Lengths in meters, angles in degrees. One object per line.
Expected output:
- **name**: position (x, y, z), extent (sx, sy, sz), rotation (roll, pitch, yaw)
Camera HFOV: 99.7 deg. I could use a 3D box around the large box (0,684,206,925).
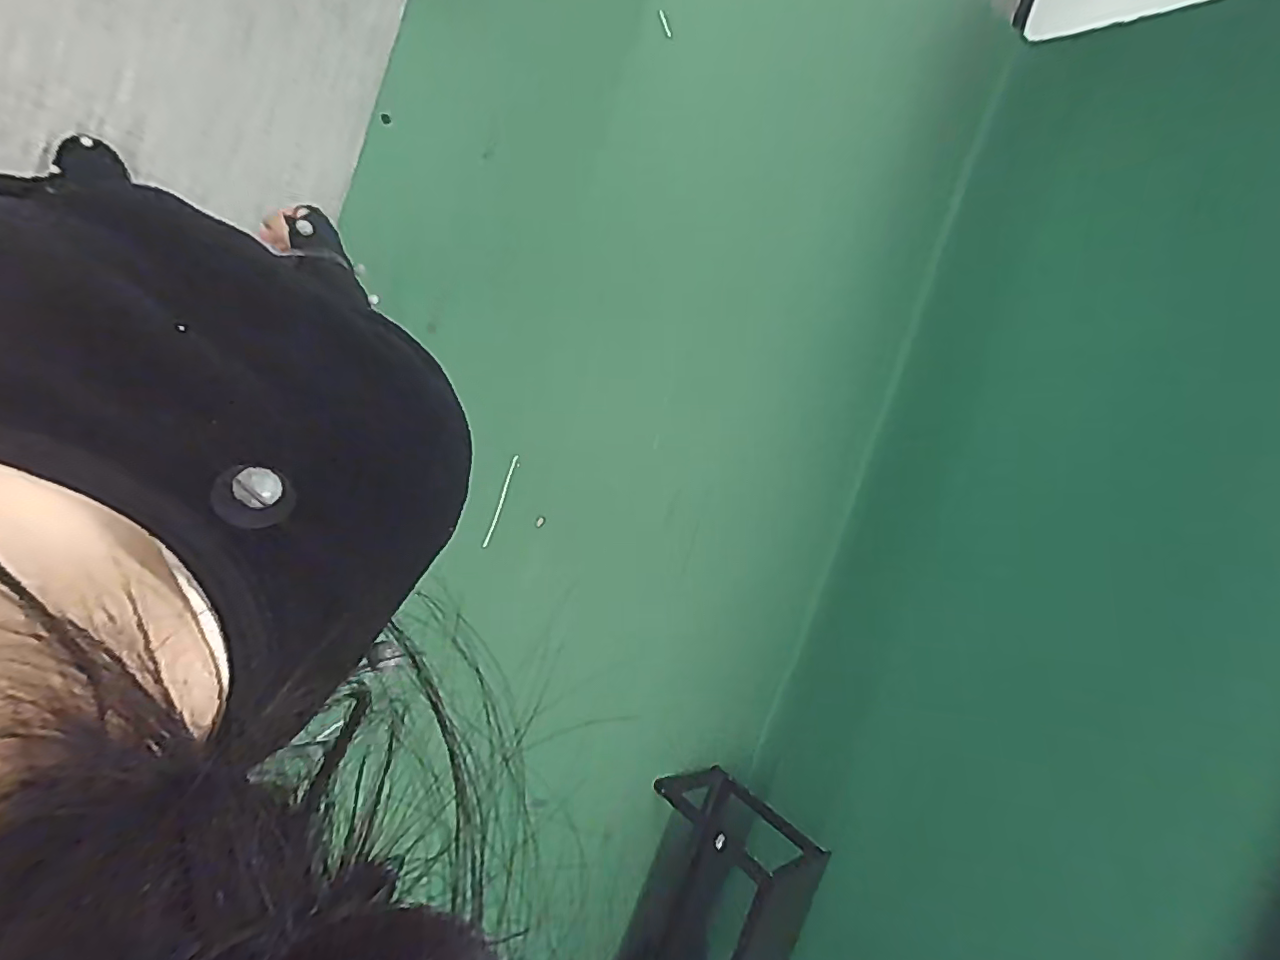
- **large box**: position (-1.159, 0.678, 1.095), extent (0.408, 0.320, 0.320), rotation (-3, 108, -44)
